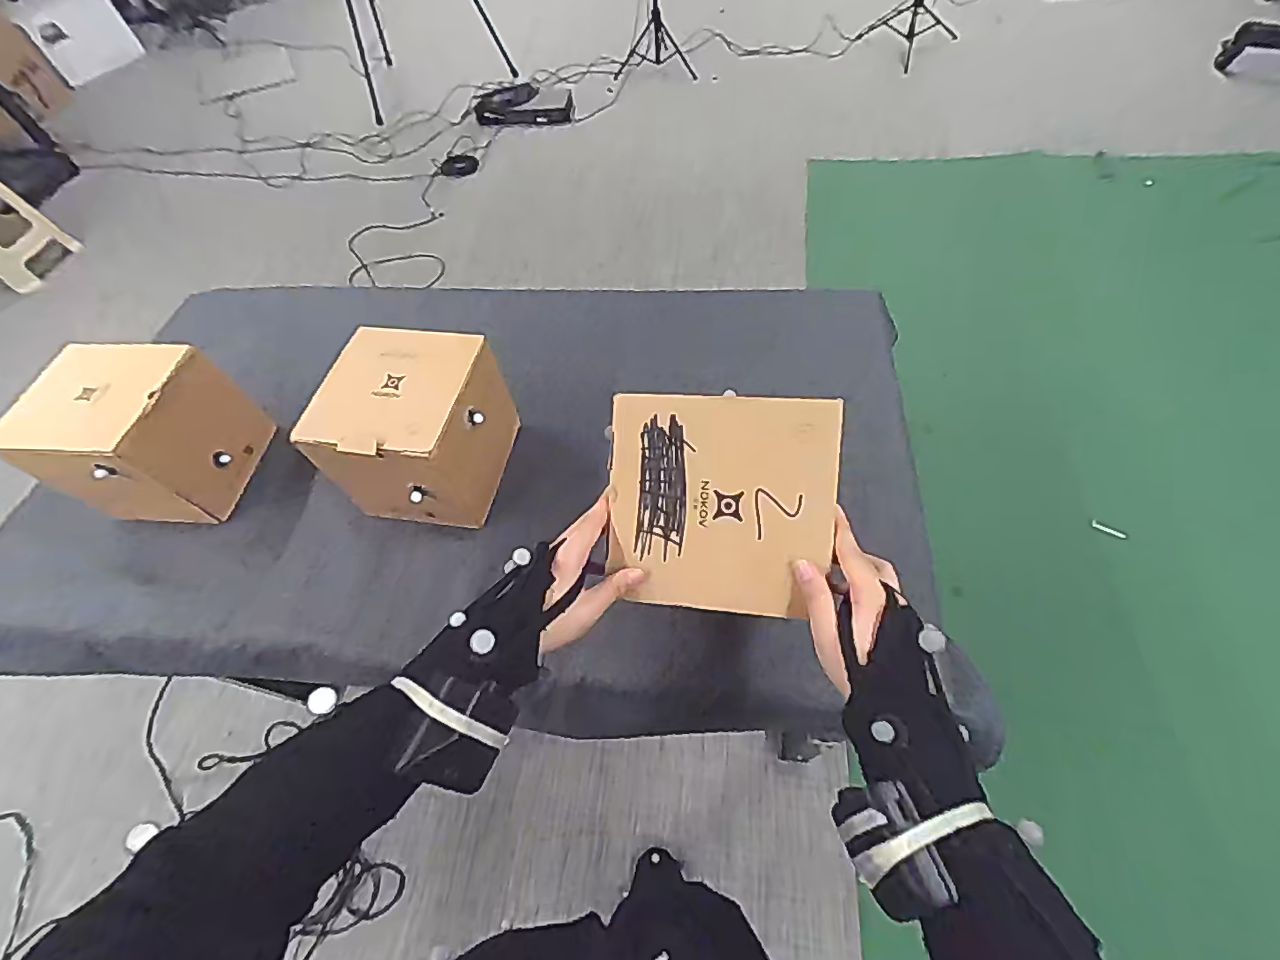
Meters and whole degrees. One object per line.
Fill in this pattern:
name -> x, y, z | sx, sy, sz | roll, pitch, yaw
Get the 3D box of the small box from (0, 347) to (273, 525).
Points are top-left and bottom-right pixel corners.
small box -> -0.637, -0.052, 0.701 | 0.179, 0.176, 0.168 | 2, 57, 6

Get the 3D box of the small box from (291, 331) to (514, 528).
small box -> -0.271, -0.057, 0.669 | 0.168, 0.176, 0.179 | 6, 57, 8
